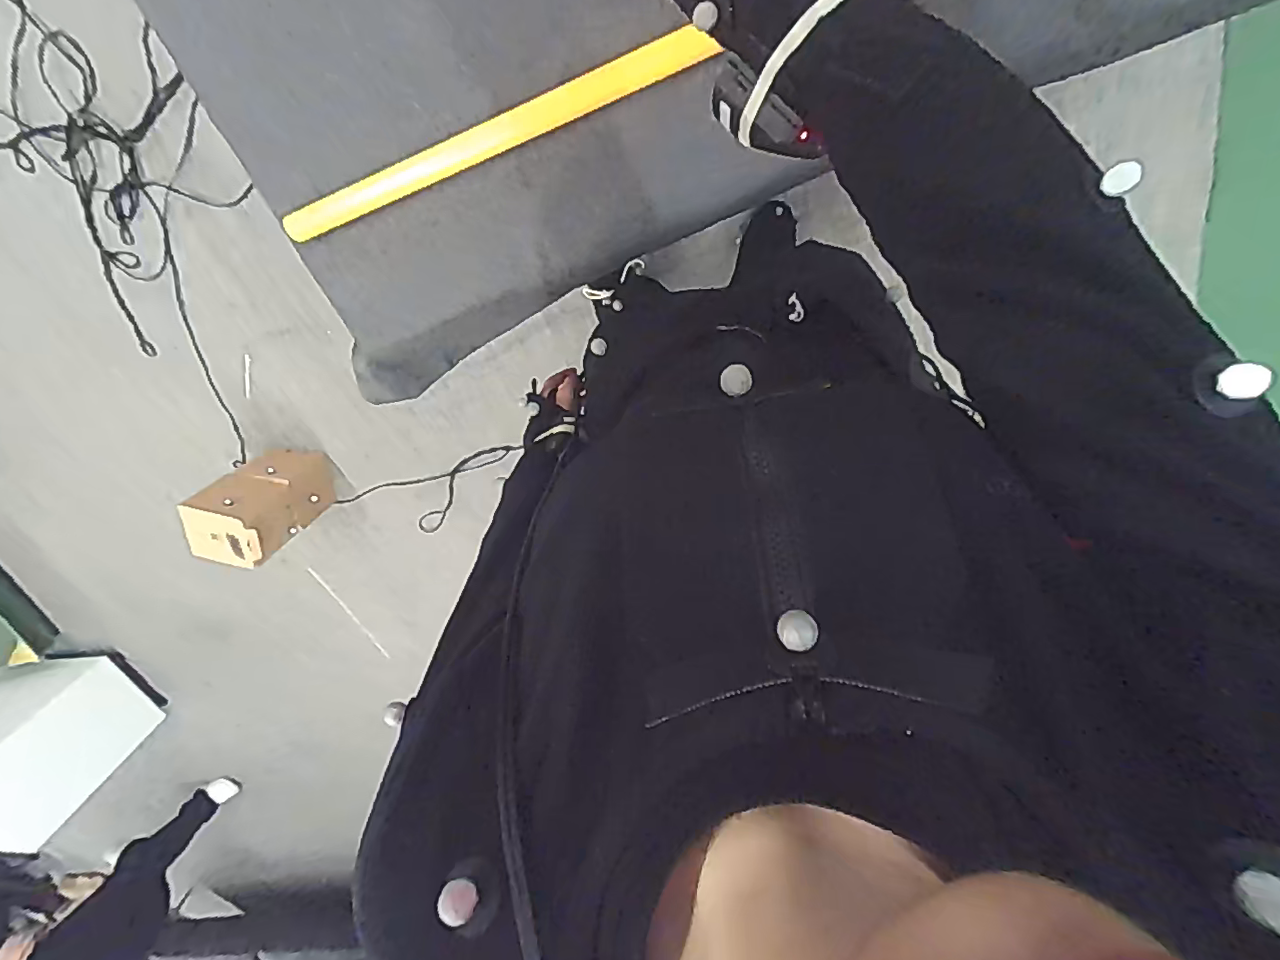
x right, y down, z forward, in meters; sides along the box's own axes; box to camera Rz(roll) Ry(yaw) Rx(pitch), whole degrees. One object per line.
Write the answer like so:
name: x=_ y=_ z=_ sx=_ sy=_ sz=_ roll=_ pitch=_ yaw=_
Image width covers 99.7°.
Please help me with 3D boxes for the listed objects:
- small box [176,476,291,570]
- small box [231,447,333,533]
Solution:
small box: x=-1.059 y=0.109 z=1.433 sx=0.179 sy=0.176 sz=0.168 roll=13 pitch=120 yaw=1
small box: x=-1.028 y=0.026 z=1.572 sx=0.168 sy=0.176 sz=0.179 roll=8 pitch=121 yaw=4
